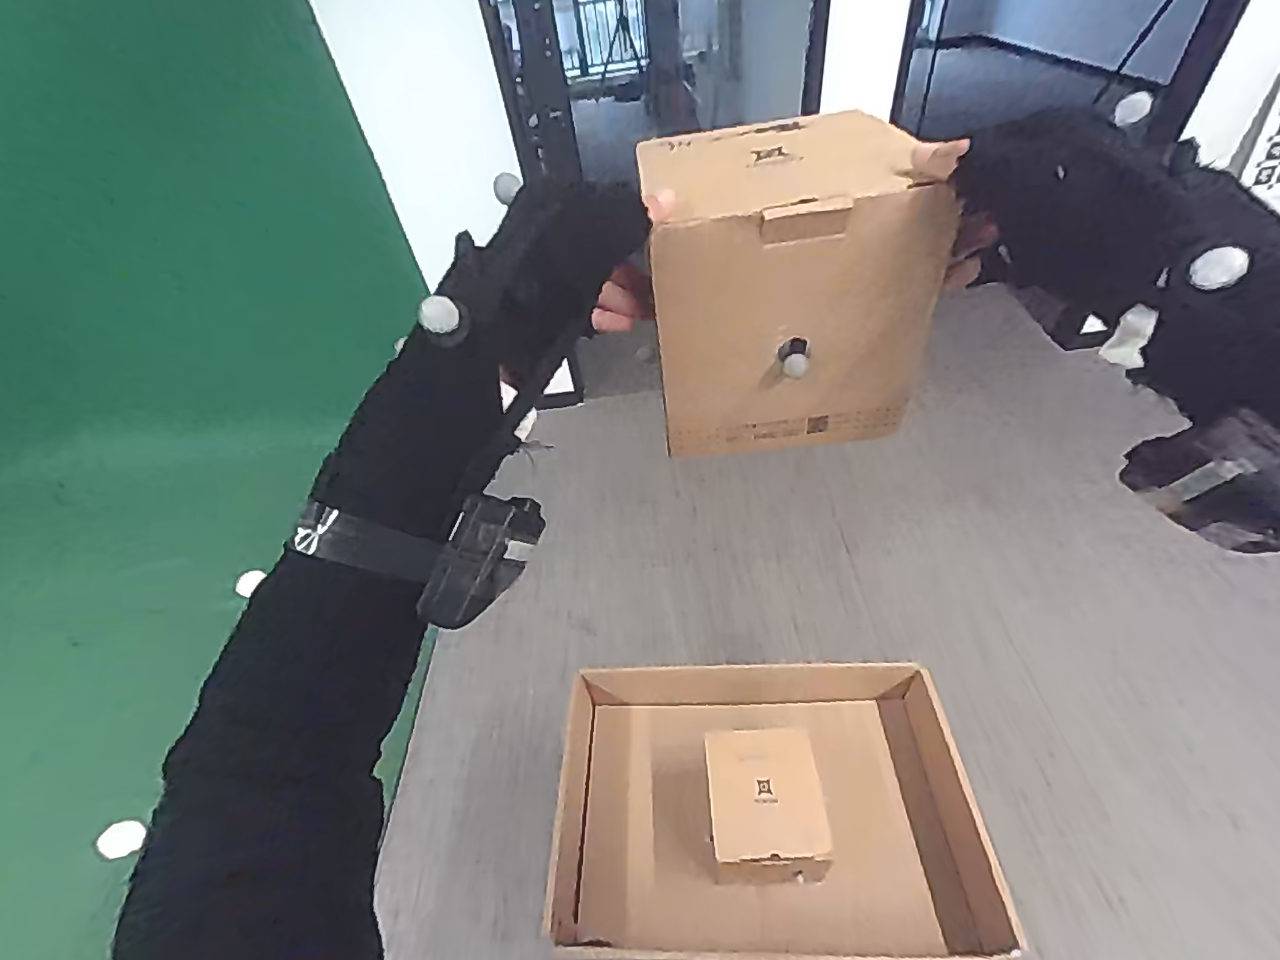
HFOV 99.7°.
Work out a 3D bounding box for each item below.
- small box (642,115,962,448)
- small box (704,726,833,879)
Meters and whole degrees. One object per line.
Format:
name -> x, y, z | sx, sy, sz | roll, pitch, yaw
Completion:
small box -> 0.094, -0.136, 0.393 | 0.168, 0.176, 0.179 | -6, 44, 4
small box -> 0.193, 0.515, 0.858 | 0.168, 0.176, 0.179 | -4, 43, 3
